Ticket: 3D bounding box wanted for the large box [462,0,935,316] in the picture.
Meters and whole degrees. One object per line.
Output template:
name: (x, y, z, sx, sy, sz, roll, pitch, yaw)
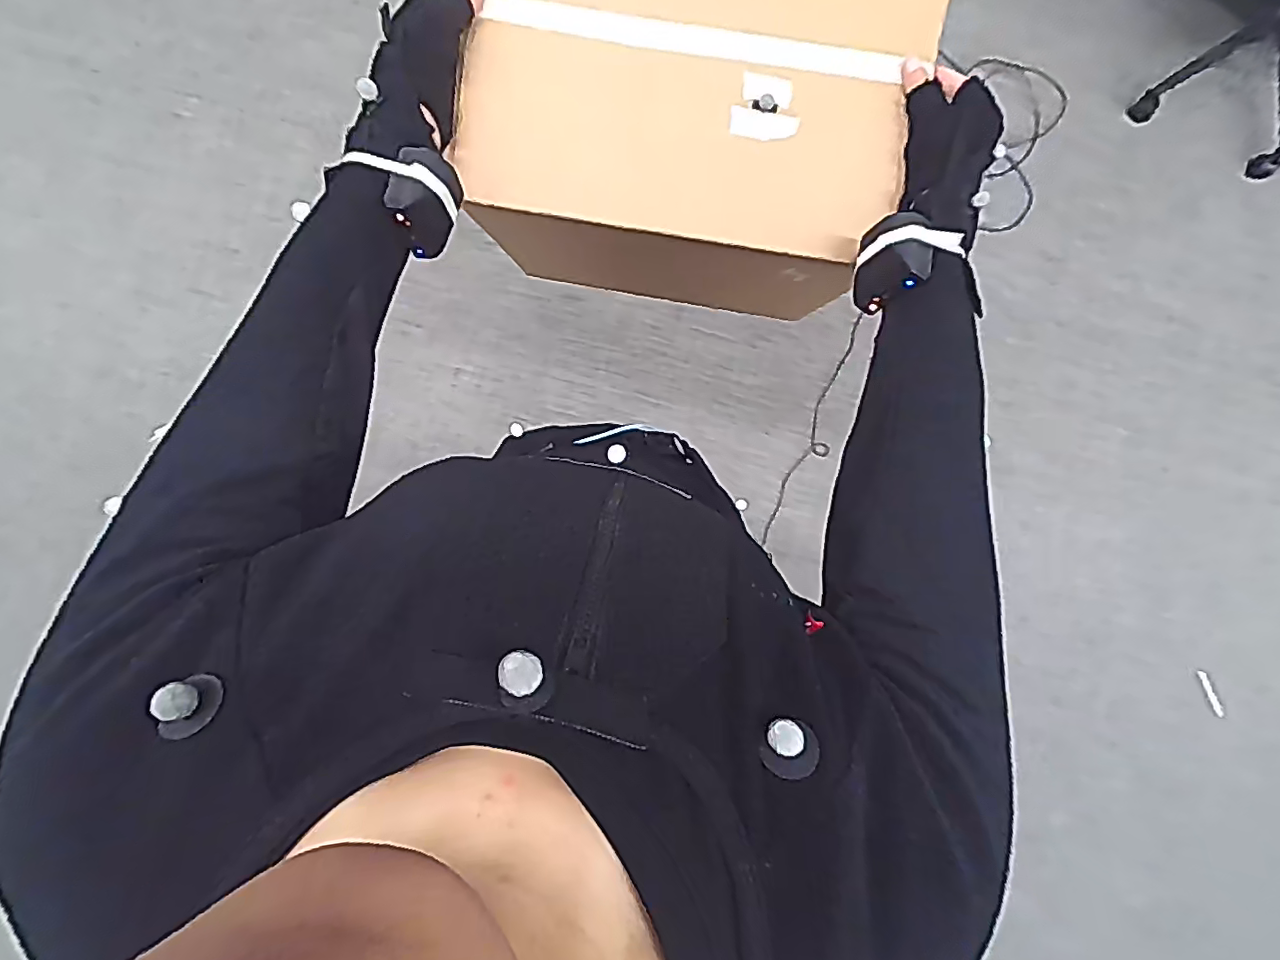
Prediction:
large box: (0.051, -0.396, 0.625, 0.408, 0.320, 0.320, 9, 99, -1)
